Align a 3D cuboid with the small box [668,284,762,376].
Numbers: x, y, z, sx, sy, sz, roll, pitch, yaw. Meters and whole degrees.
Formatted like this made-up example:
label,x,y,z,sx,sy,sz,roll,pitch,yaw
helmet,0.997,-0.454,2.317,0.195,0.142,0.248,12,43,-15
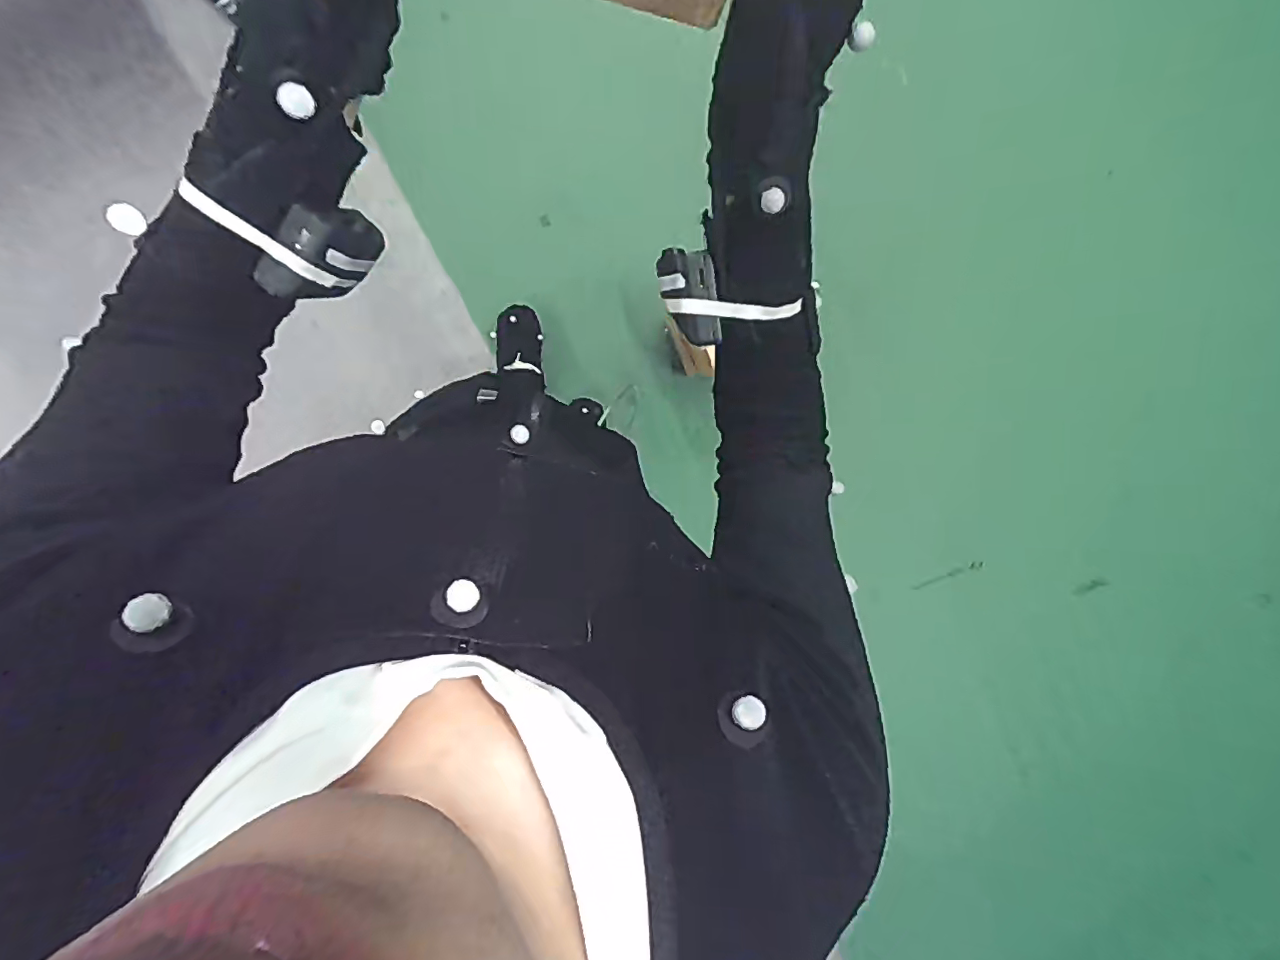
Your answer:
label,x,y,z,sx,sy,sz,roll,pitch,yaw
small box,0.179,-0.367,1.358,0.179,0.176,0.168,-24,102,-1
